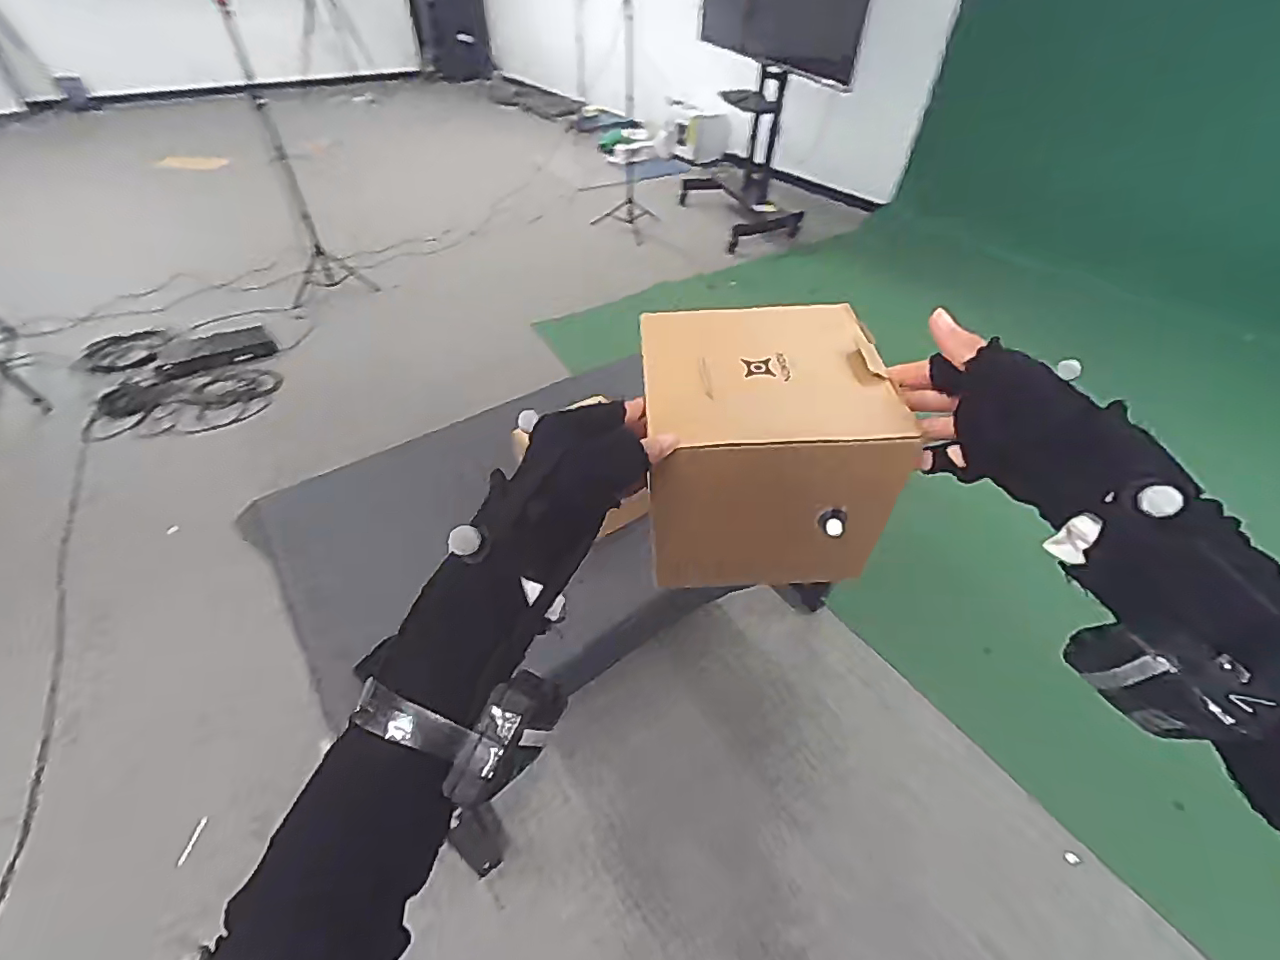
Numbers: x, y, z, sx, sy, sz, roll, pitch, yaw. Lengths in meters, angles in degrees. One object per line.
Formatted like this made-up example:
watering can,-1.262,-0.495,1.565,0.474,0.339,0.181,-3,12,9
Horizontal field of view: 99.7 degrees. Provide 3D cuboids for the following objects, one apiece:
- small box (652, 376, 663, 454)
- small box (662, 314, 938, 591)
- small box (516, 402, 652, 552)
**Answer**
small box,0.139,-0.116,1.081,0.168,0.176,0.179,-25,49,-26
small box,0.109,-0.020,0.459,0.179,0.176,0.168,-3,46,1
small box,-0.094,-0.004,0.956,0.179,0.176,0.168,-27,52,-26
